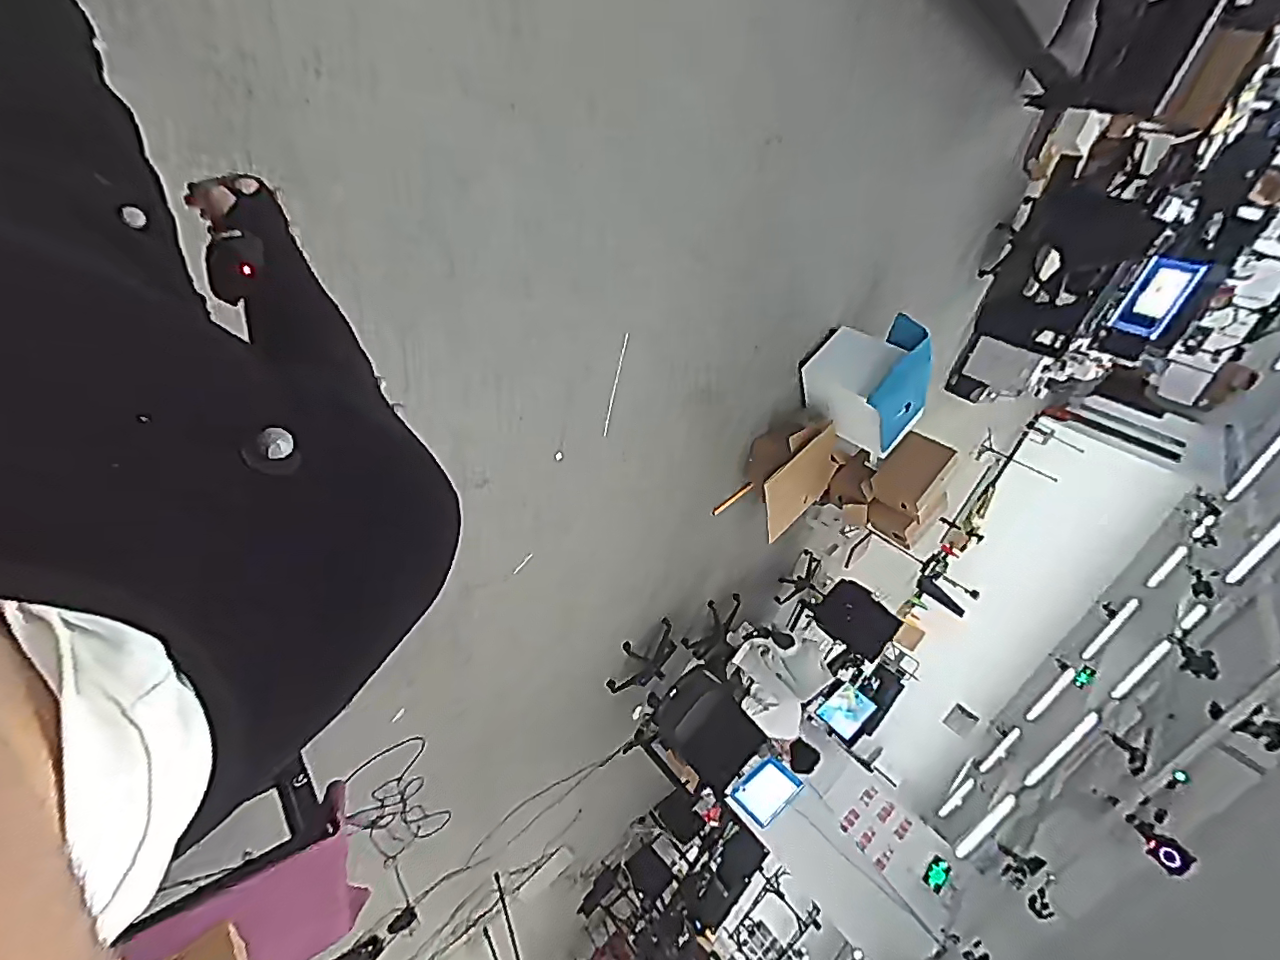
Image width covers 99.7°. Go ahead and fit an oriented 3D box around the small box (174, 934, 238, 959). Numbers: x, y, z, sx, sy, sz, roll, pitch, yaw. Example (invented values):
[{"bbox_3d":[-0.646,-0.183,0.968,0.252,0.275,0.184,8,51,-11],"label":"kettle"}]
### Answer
[{"bbox_3d":[-1.017,1.199,1.233,0.168,0.176,0.179,-20,135,-39],"label":"small box"}]
